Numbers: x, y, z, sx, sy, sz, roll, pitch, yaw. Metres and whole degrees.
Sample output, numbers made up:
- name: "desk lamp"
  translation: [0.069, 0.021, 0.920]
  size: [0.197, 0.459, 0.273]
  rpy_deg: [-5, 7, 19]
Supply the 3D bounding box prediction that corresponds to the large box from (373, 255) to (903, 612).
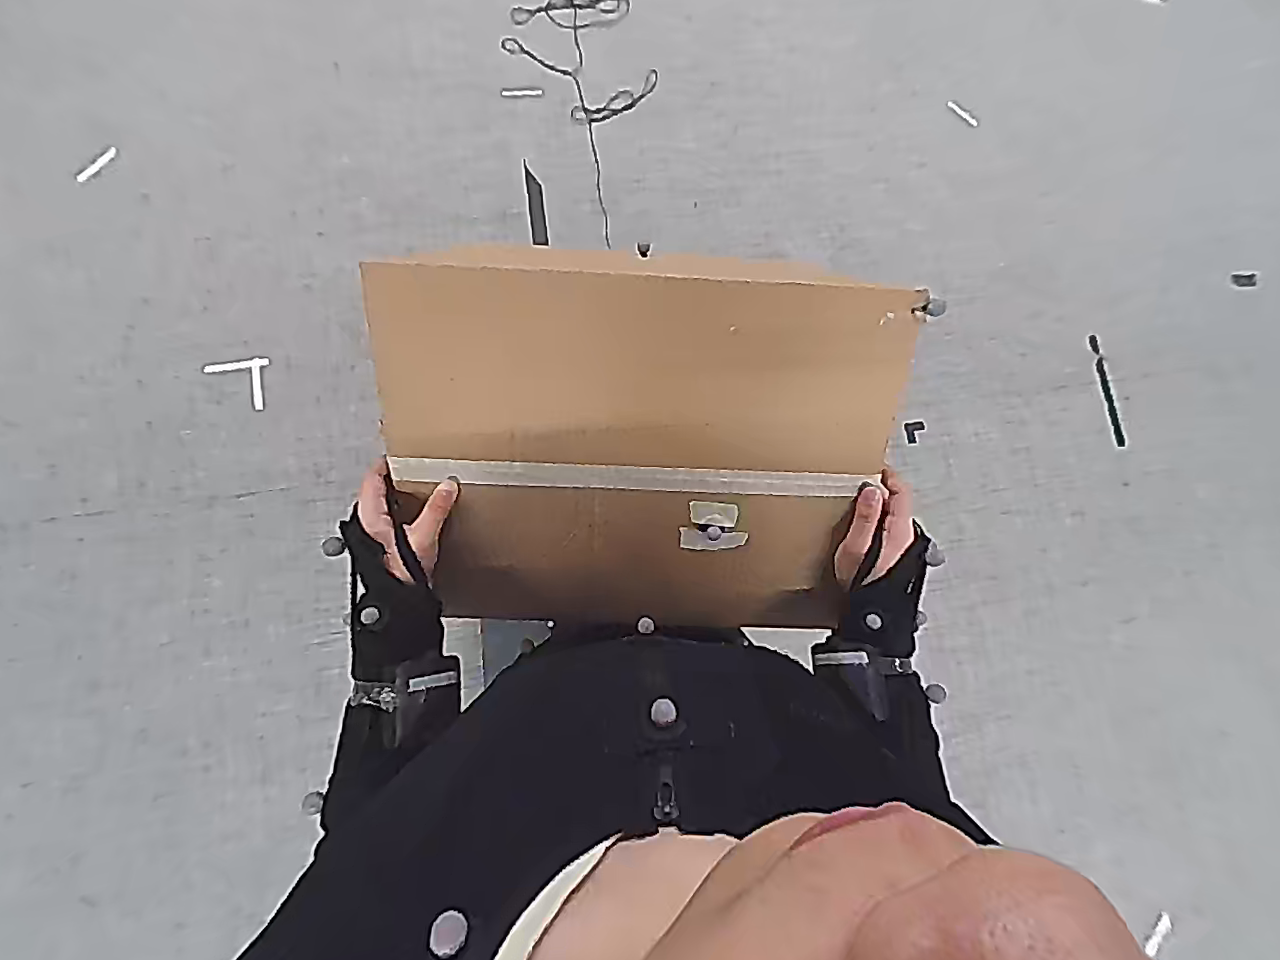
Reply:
- name: "large box"
  translation: [-0.009, -0.074, 0.597]
  size: [0.408, 0.320, 0.320]
  rpy_deg: [1, 116, -3]
